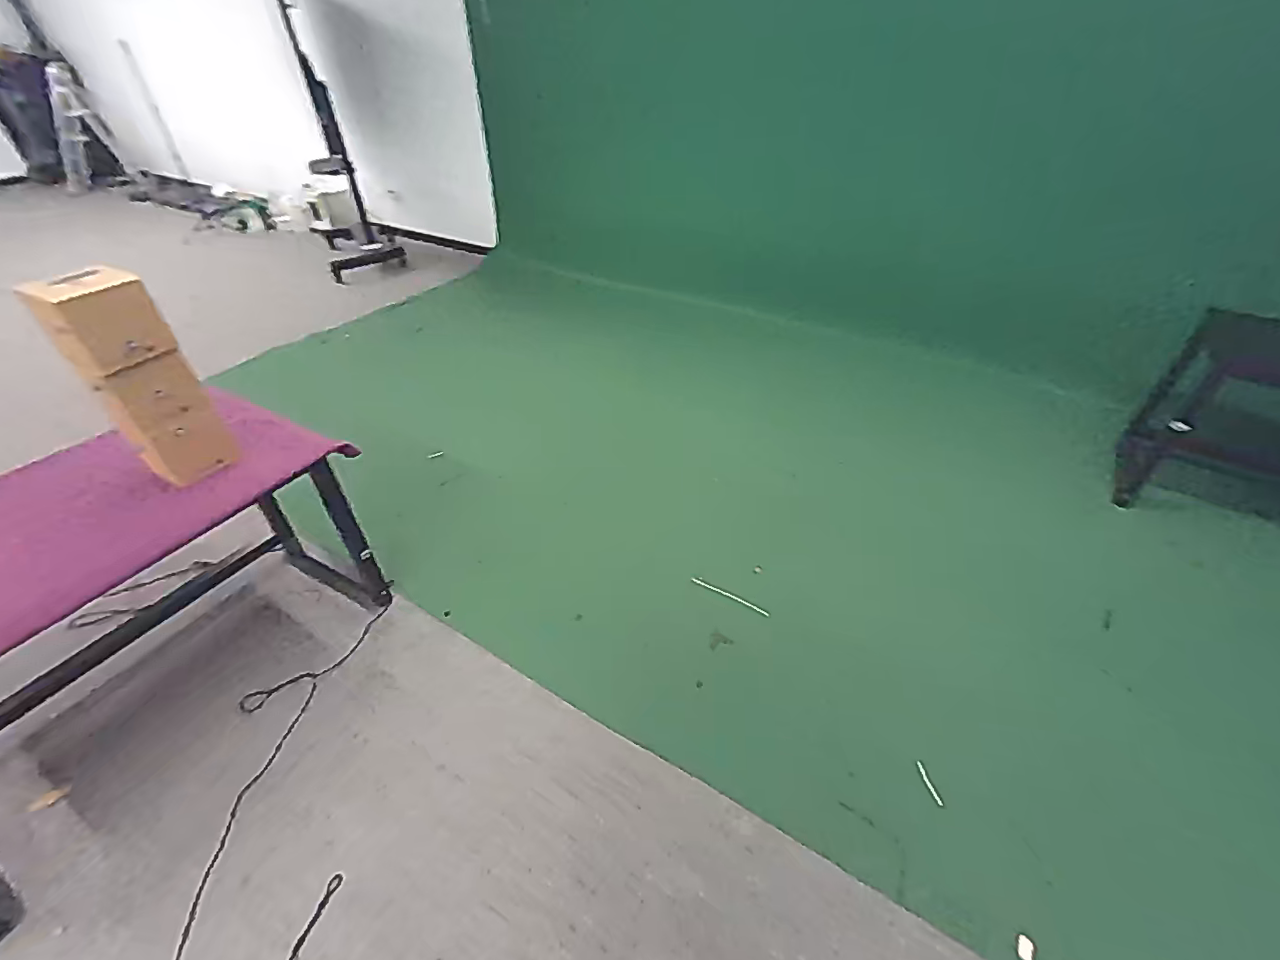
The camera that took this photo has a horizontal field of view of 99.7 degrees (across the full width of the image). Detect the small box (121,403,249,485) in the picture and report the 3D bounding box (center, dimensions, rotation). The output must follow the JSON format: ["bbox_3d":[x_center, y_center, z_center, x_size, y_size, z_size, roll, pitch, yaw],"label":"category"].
[{"bbox_3d":[-1.202,-0.111,1.439,0.179,0.176,0.168,19,45,23],"label":"small box"}]

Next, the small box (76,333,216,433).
[{"bbox_3d":[-1.206,-0.237,1.333,0.179,0.176,0.168,20,44,24],"label":"small box"}]
